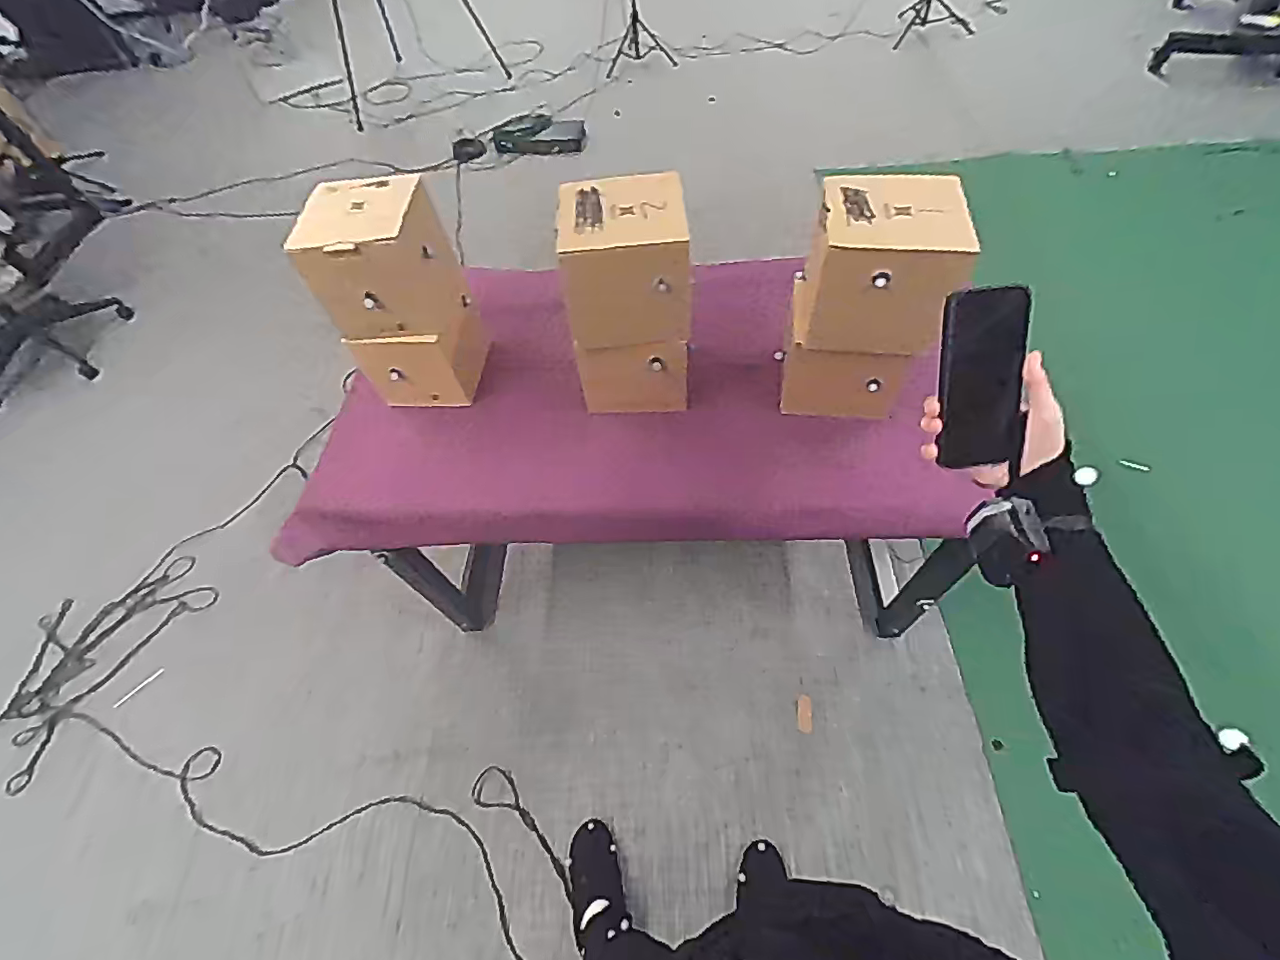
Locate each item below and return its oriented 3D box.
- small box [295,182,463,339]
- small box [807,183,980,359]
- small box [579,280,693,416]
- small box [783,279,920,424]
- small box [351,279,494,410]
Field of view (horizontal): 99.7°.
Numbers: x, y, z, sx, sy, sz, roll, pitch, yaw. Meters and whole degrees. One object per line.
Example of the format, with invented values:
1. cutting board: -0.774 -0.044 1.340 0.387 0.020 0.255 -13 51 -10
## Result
1. small box: -0.399 -0.341 0.863 0.168 0.176 0.179 -3 57 3
2. small box: 0.333 -0.286 0.753 0.179 0.176 0.168 6 57 9
3. small box: 0.002 -0.224 0.941 0.179 0.176 0.168 0 57 6
4. small box: 0.340 -0.209 0.898 0.179 0.176 0.168 5 57 10
5. small box: -0.385 -0.243 0.995 0.168 0.176 0.179 1 57 7
